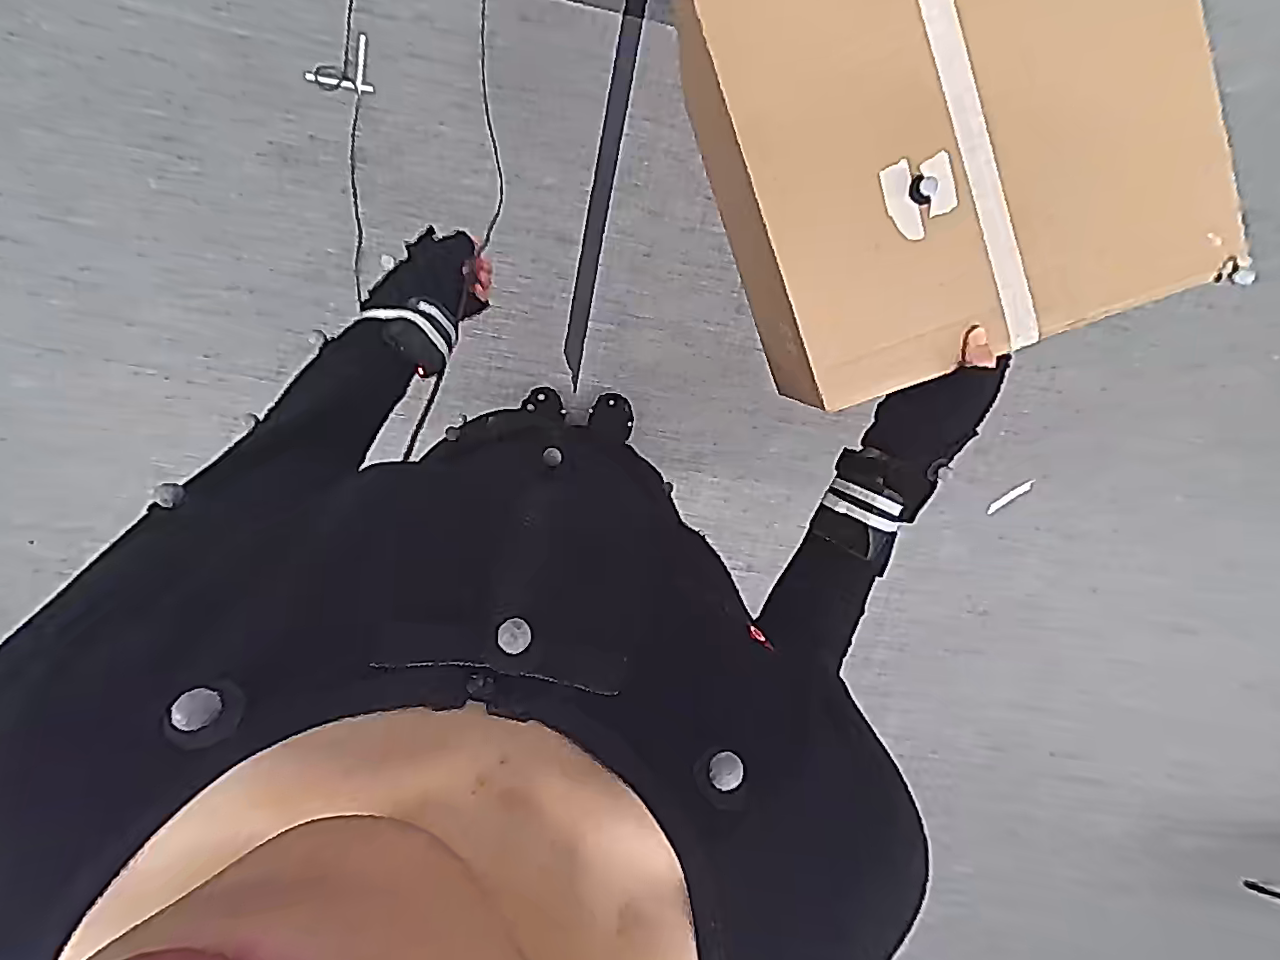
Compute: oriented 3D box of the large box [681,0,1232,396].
[{"bbox_3d":[0.254,-0.332,0.552,0.320,0.320,0.408,-19,98,12],"label":"large box"}]
